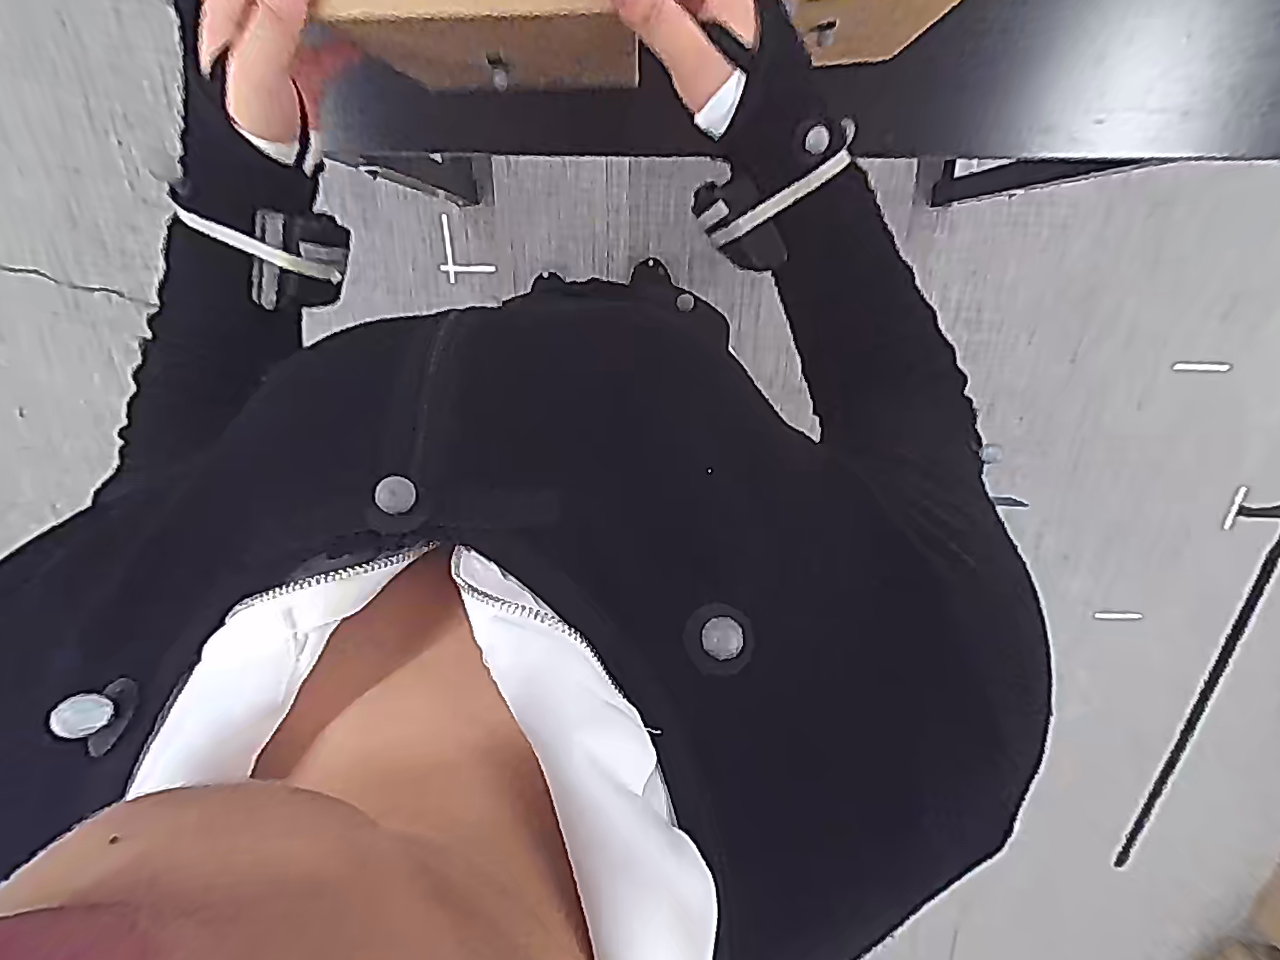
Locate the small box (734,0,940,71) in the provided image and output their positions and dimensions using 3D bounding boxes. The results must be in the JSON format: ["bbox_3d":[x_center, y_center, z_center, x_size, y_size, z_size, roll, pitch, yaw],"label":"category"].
[{"bbox_3d":[0.182,-0.503,0.494,0.179,0.176,0.168,-4,111,1],"label":"small box"}]

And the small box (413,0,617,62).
[{"bbox_3d":[-0.112,-0.507,0.485,0.179,0.176,0.168,-4,111,1],"label":"small box"}]
